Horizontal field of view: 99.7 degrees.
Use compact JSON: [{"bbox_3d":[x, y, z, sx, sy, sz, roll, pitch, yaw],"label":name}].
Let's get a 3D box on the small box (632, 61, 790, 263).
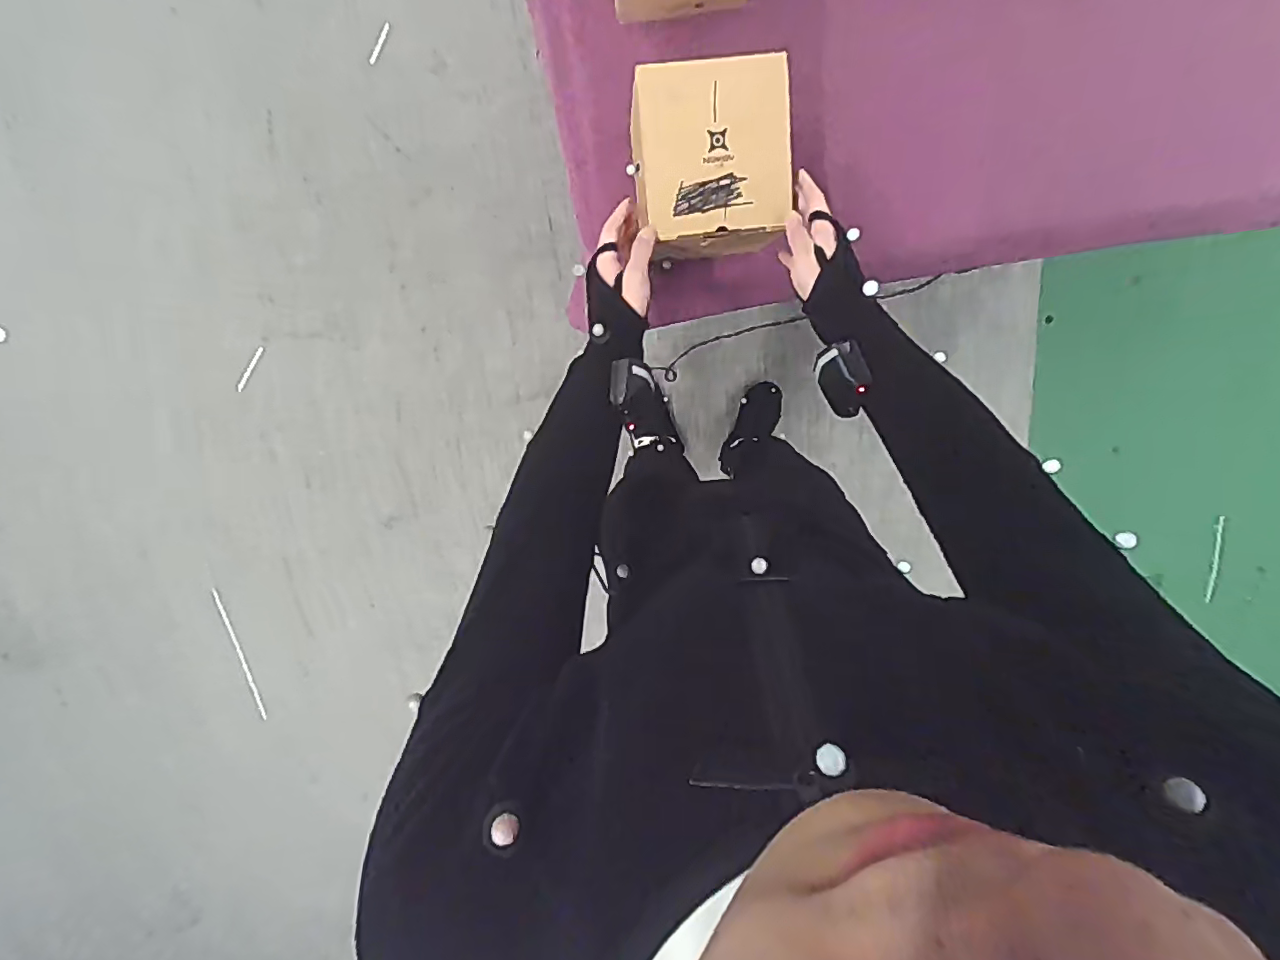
[{"bbox_3d":[0.080,-0.376,0.674,0.168,0.176,0.179,-6,103,-2],"label":"small box"}]
